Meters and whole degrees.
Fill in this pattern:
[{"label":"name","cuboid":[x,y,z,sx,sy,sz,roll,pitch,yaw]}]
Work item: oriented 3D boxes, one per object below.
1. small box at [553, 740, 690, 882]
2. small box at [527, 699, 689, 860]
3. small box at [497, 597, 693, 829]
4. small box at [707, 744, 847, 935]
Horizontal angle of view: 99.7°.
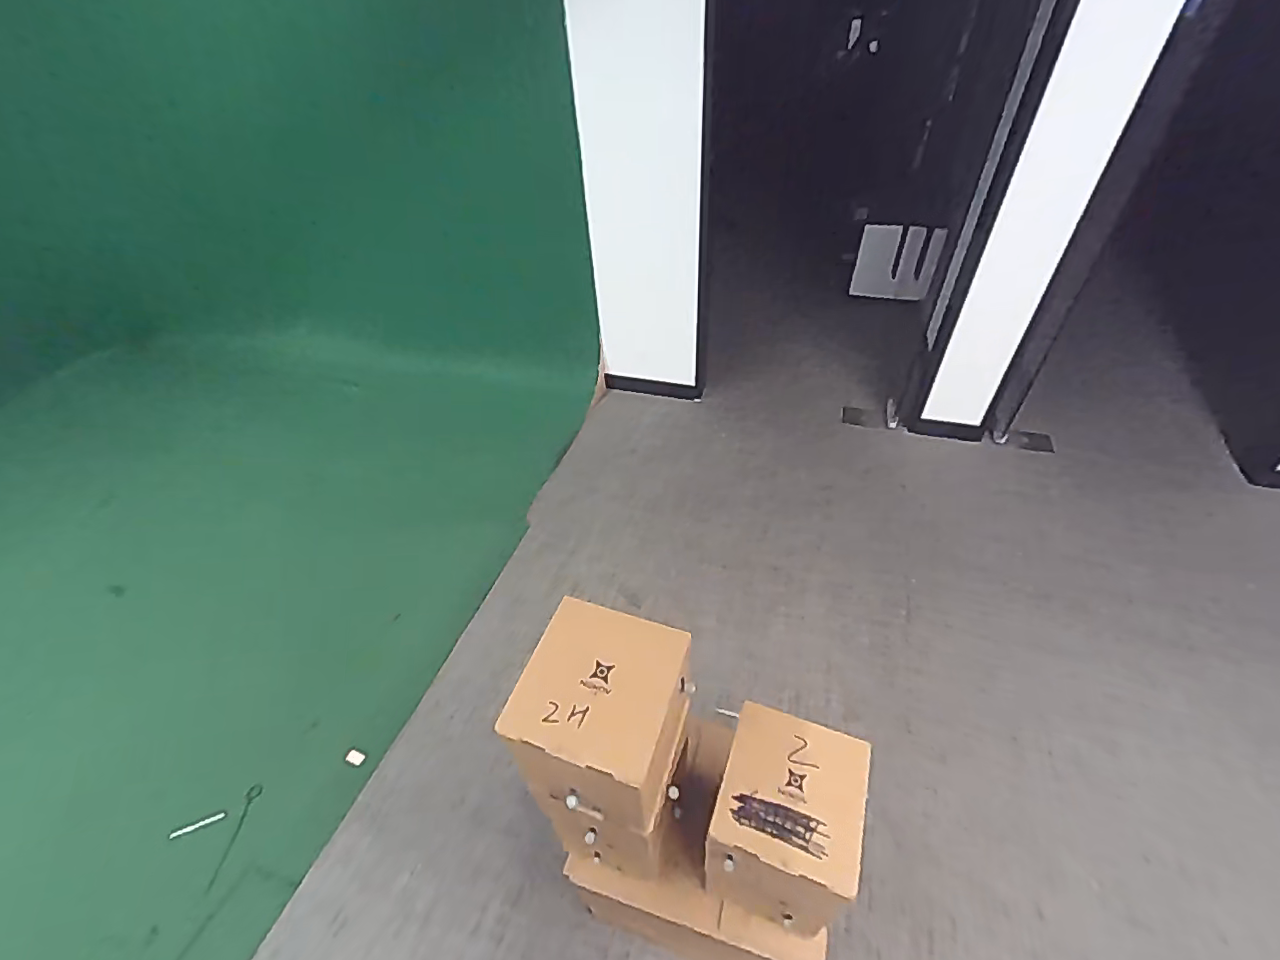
[{"label":"small box","cuboid":[-0.023,0.510,0.877,0.168,0.176,0.179,12,47,15]},{"label":"small box","cuboid":[-0.032,0.397,0.759,0.168,0.176,0.179,13,48,16]},{"label":"small box","cuboid":[-0.042,0.276,0.646,0.168,0.176,0.179,13,47,16]},{"label":"small box","cuboid":[0.205,0.545,0.820,0.168,0.176,0.179,13,45,18]}]
